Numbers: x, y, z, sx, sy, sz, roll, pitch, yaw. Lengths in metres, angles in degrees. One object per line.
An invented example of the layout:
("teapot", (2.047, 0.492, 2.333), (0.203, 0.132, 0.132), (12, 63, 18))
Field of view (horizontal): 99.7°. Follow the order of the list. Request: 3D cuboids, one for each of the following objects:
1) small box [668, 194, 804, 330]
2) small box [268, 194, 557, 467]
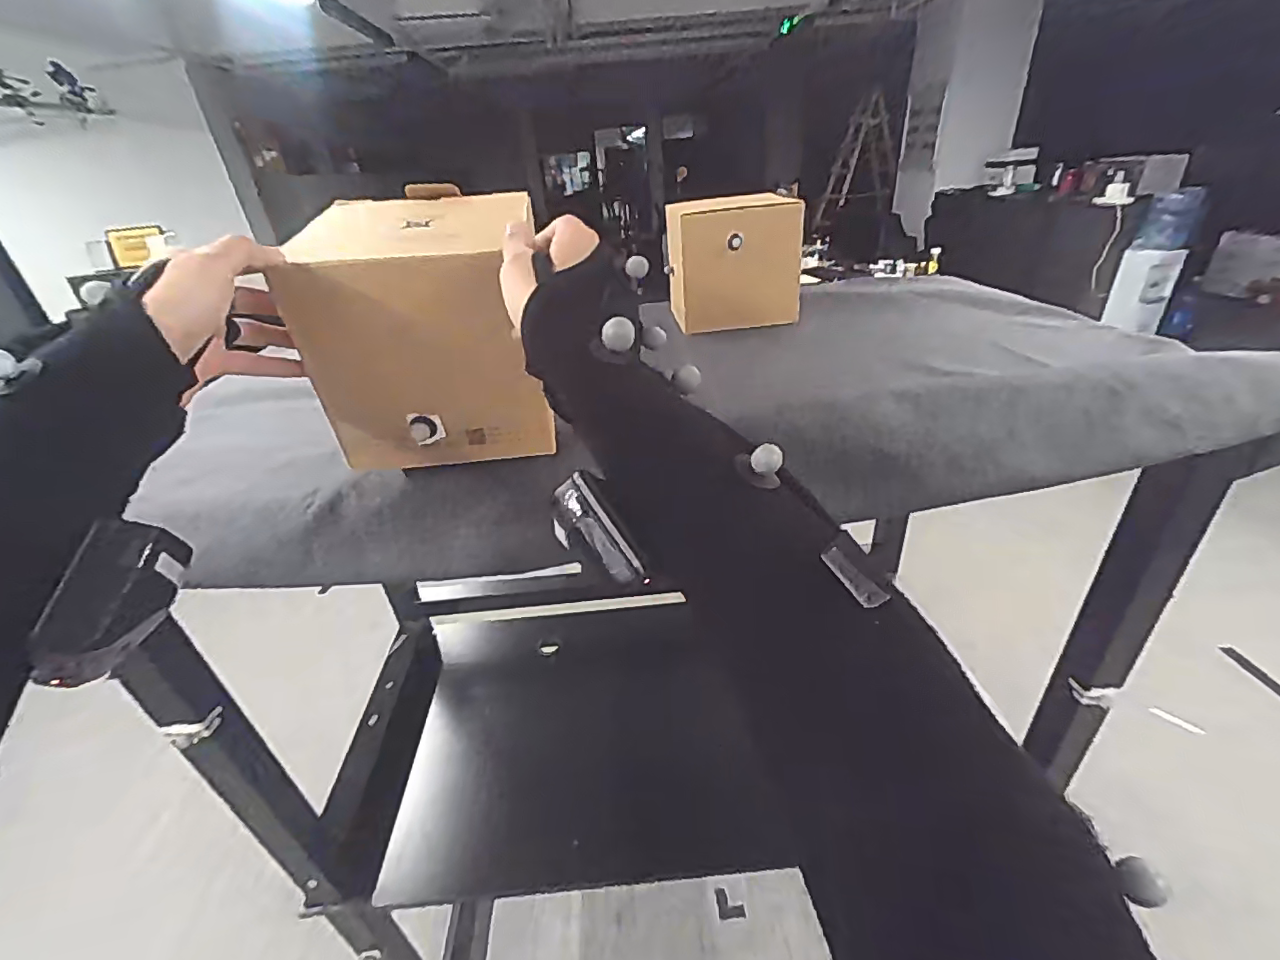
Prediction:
("small box", (0.143, -0.339, 0.840), (0.179, 0.176, 0.168), (-6, 31, -1))
("small box", (-0.163, -0.131, 0.458), (0.168, 0.176, 0.179), (-6, 39, -6))
